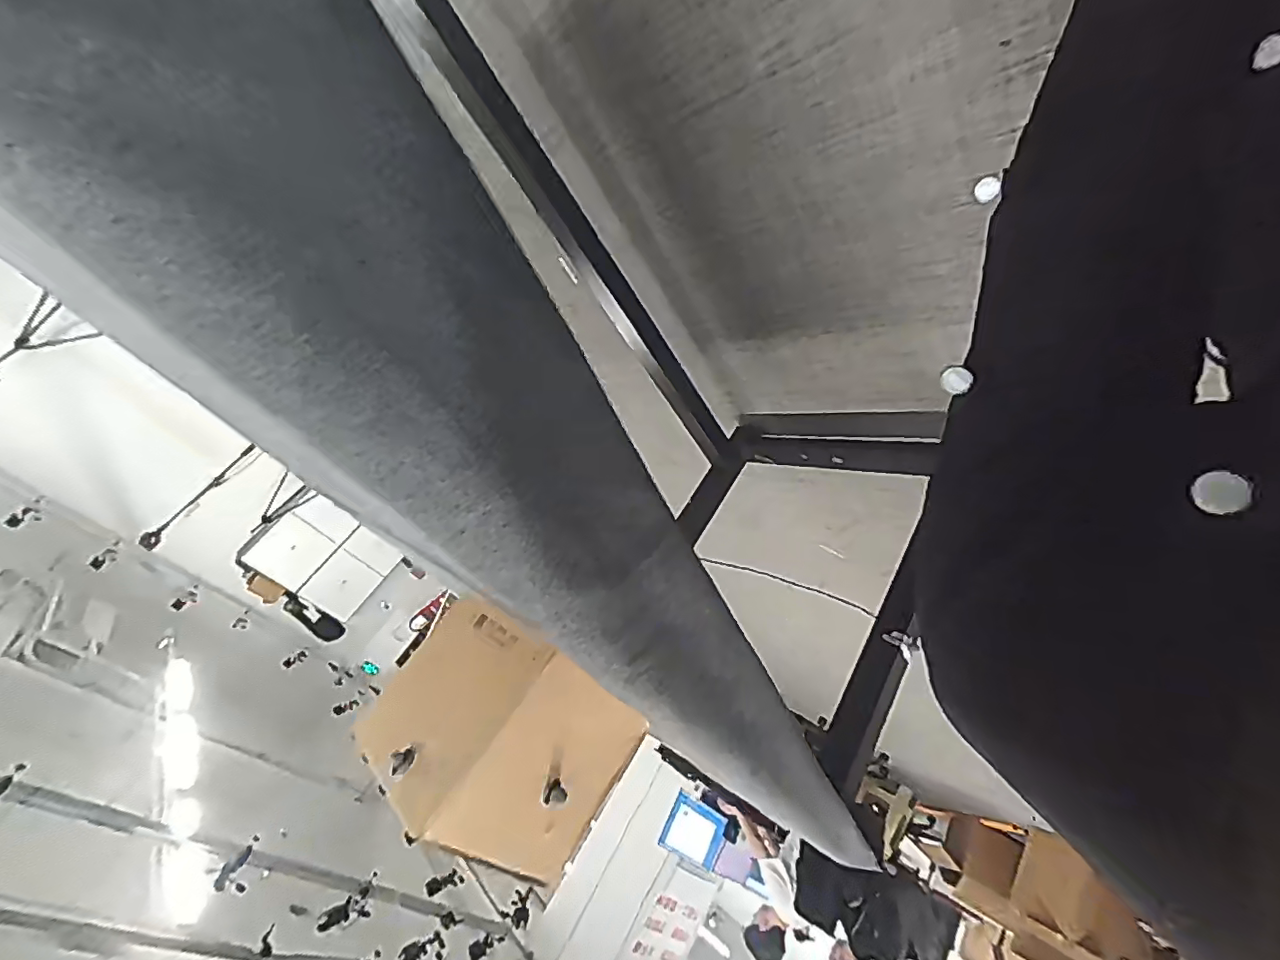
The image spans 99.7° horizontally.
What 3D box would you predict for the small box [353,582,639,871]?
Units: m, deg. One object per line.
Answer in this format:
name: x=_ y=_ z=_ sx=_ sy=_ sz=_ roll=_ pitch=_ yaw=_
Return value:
small box: x=-0.132 y=0.231 z=0.532 sx=0.168 sy=0.176 sz=0.179 roll=13 pitch=148 yaw=46
